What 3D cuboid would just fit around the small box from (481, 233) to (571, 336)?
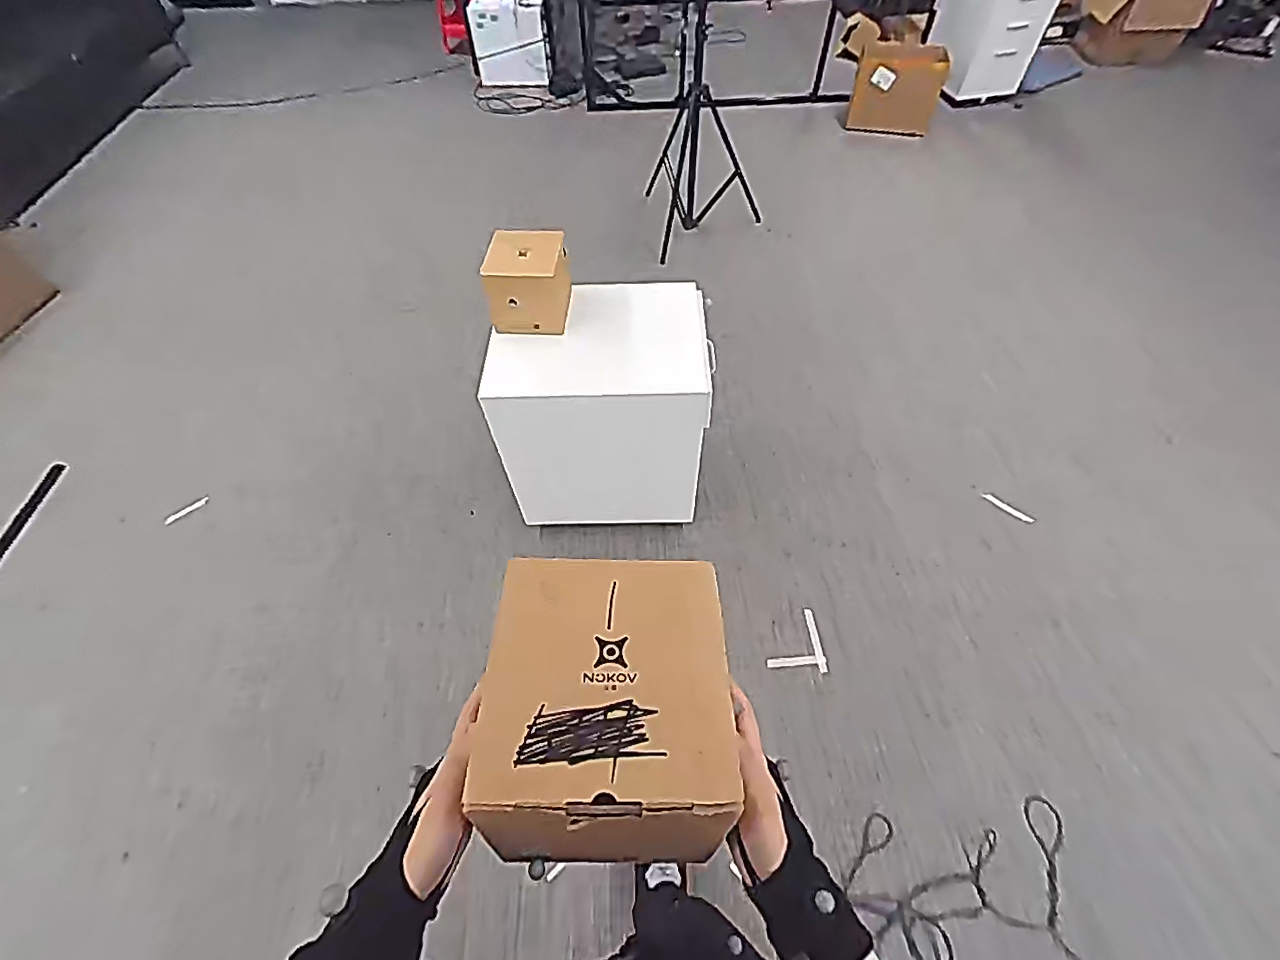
[{"bbox_3d":[-0.260,-0.460,1.281,0.168,0.176,0.179,2,55,2],"label":"small box"}]
